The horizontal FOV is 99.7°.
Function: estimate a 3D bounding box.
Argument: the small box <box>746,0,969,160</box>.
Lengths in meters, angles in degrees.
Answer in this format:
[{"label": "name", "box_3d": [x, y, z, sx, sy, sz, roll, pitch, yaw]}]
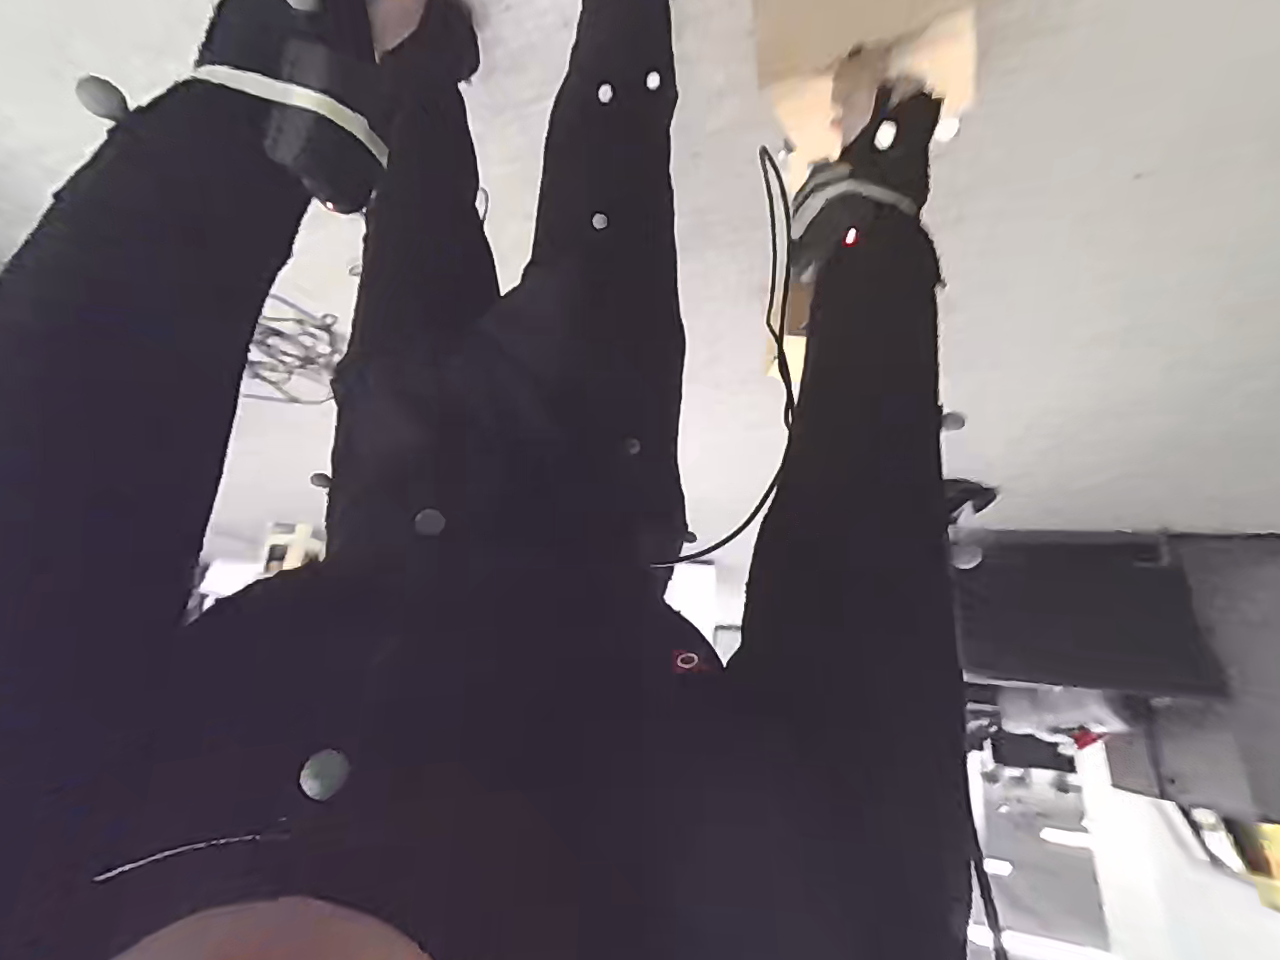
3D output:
[{"label": "small box", "box_3d": [0.203, -0.422, 0.493, 0.168, 0.179, 0.176, -3, -173, 31]}]

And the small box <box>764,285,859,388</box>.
[{"label": "small box", "box_3d": [0.401, -0.340, 1.285, 0.179, 0.176, 0.168, 6, 158, 1]}]
